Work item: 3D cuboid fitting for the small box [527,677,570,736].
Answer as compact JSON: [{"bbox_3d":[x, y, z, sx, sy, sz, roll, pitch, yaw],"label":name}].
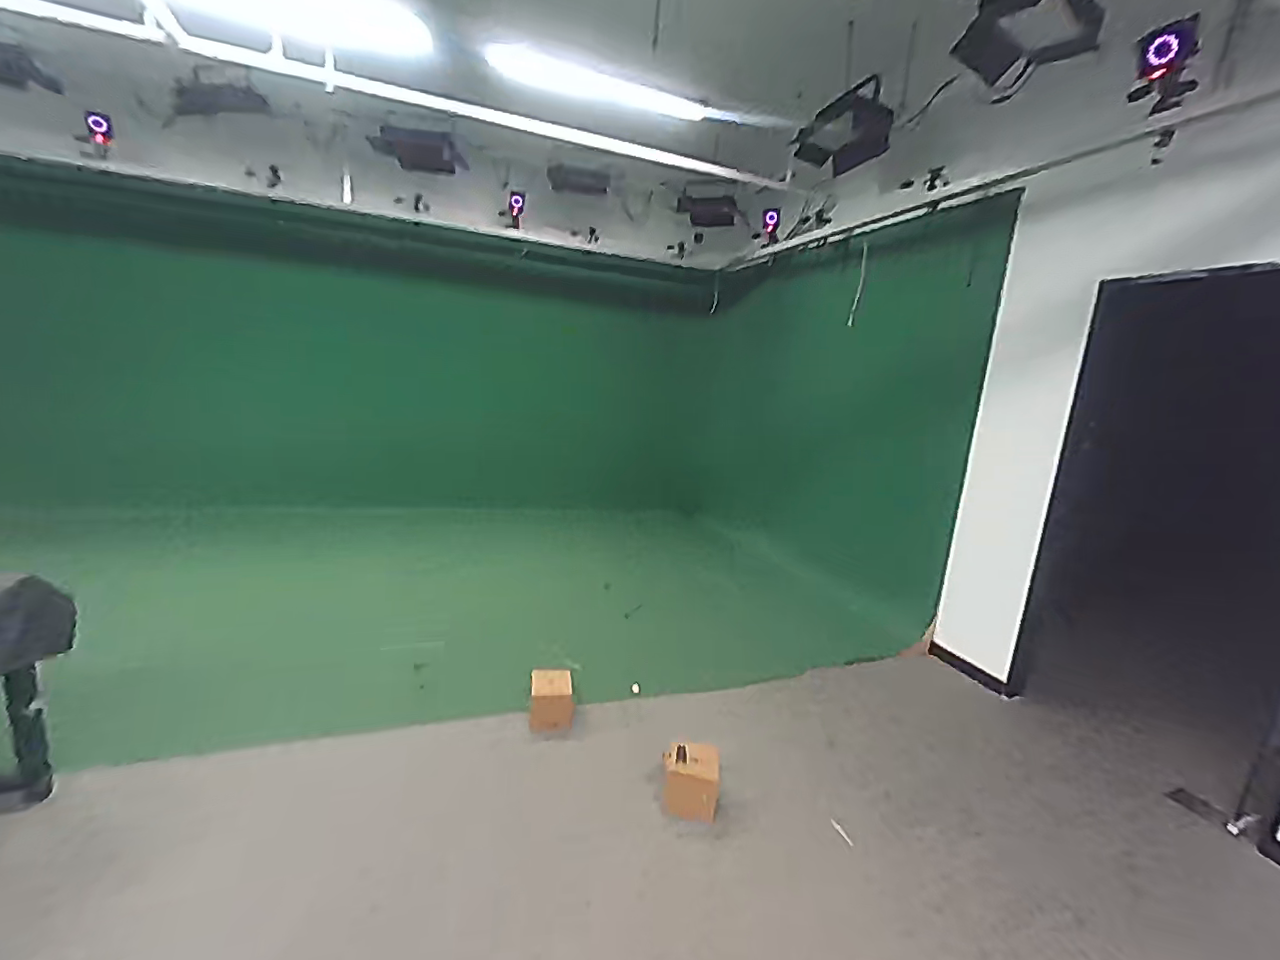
[{"bbox_3d":[-0.386,0.954,2.272,0.168,0.176,0.179,4,10,-13],"label":"small box"}]
